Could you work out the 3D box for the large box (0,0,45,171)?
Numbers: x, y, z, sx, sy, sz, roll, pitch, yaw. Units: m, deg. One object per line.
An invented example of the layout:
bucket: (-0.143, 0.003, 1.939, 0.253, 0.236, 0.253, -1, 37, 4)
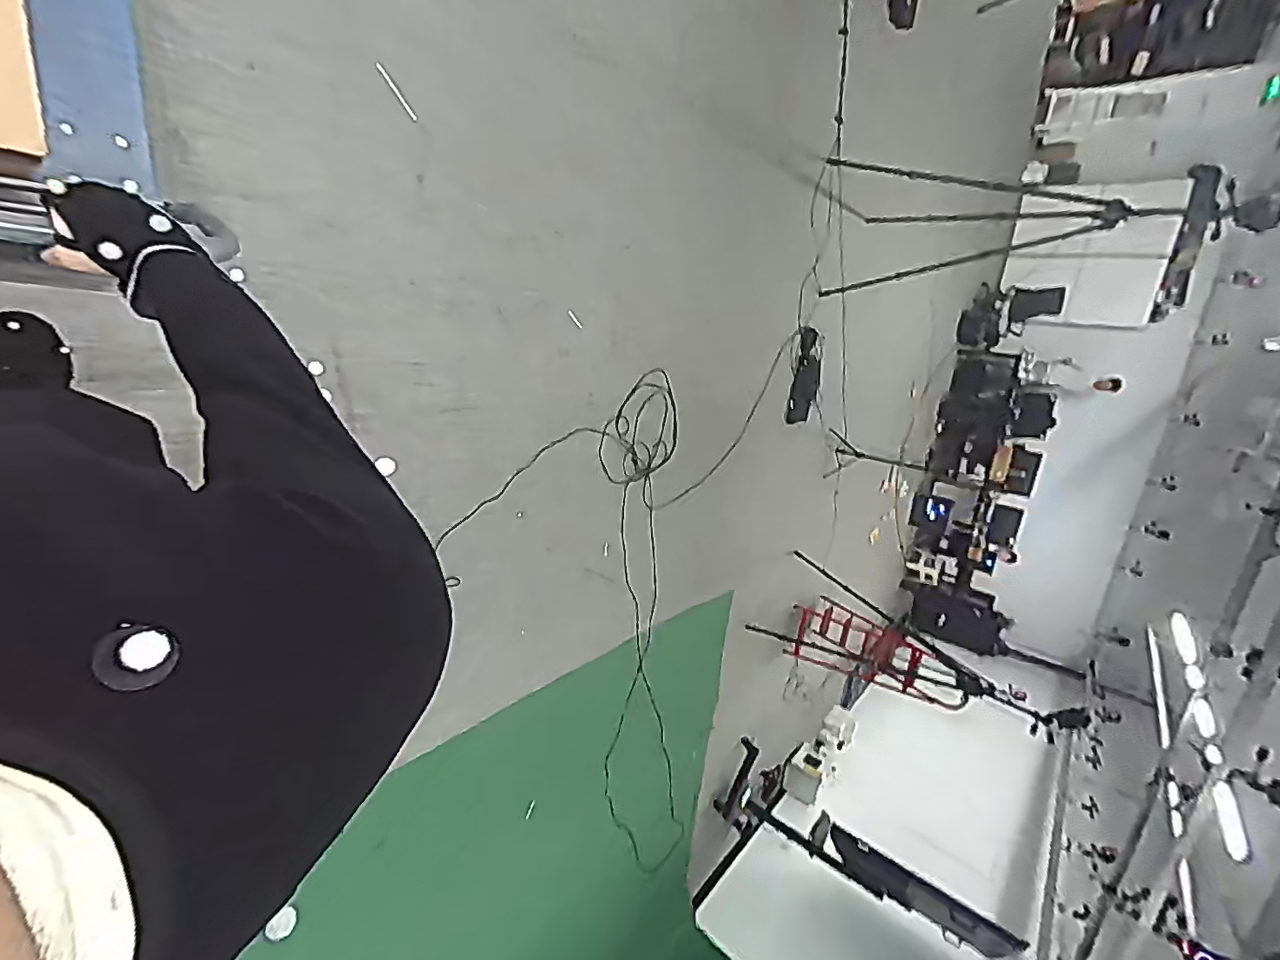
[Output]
large box: (-1.015, -0.658, 0.671, 0.320, 0.320, 0.408, -13, 113, -48)
